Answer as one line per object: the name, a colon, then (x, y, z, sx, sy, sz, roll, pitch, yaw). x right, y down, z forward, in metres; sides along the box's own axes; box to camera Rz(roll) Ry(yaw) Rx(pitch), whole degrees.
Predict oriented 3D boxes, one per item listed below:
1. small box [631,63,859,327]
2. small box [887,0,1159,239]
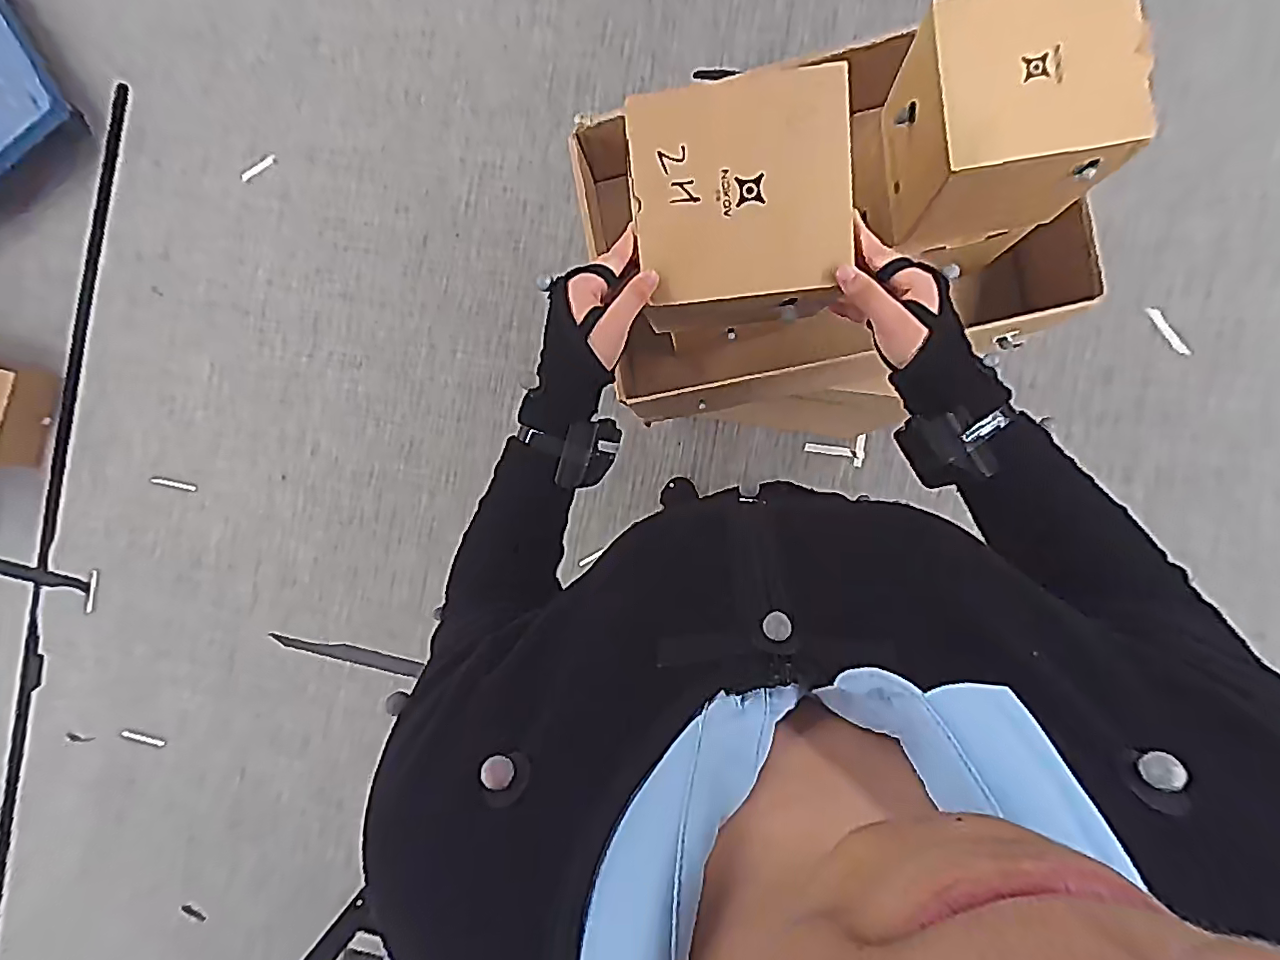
small box: (0.092, -0.244, 0.510, 0.179, 0.176, 0.168, -4, 97, 7)
small box: (0.375, -0.376, 0.568, 0.179, 0.176, 0.168, -7, 90, 8)
